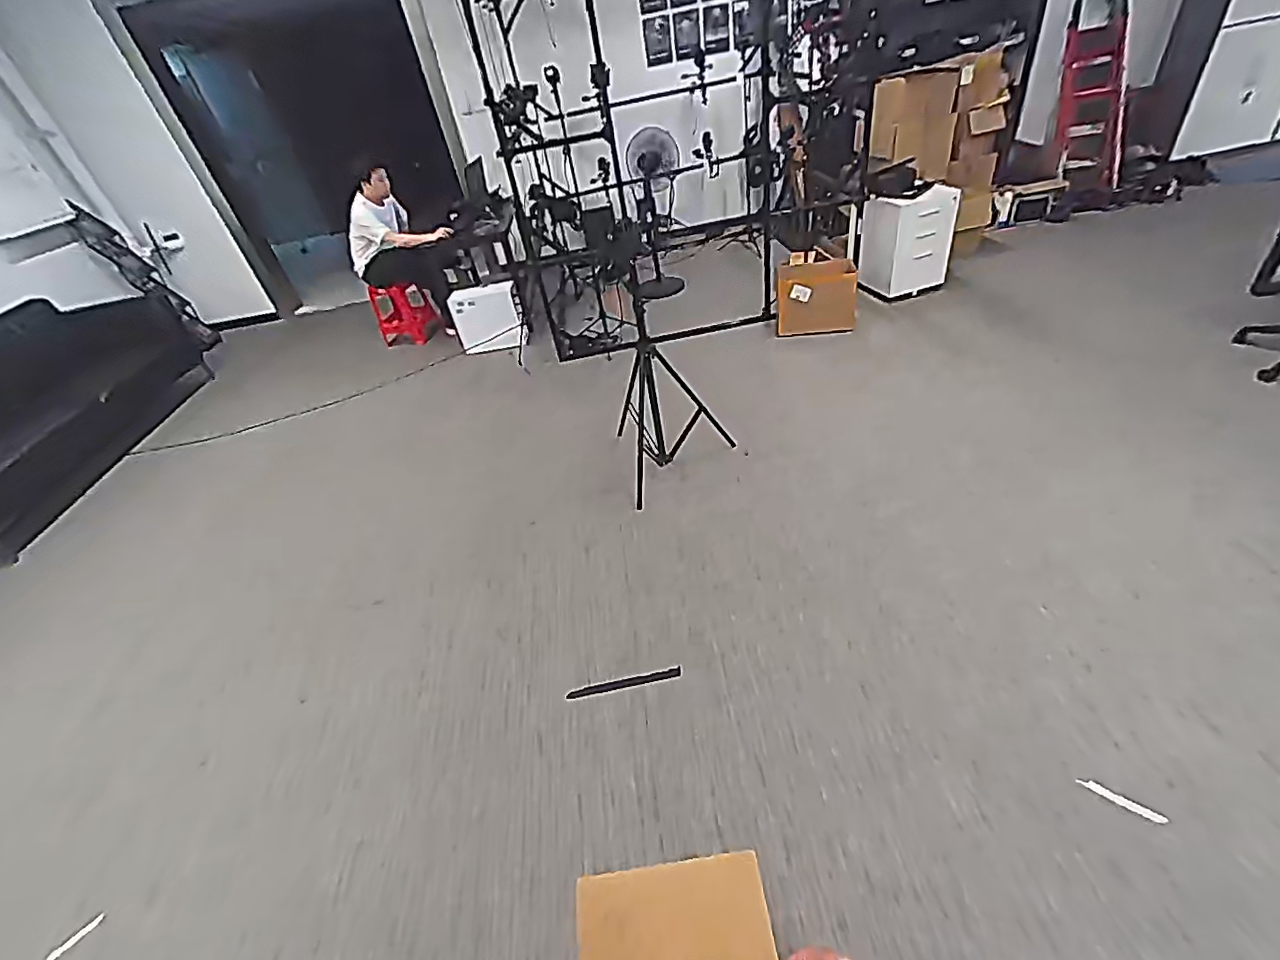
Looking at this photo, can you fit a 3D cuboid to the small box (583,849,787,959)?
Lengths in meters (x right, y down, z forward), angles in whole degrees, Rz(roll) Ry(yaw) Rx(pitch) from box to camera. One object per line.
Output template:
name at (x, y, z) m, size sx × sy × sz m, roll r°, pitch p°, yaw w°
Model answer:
small box at (0.047, 0.455, 0.479) m, size 0.168 × 0.176 × 0.179 m, roll -10°, pitch 48°, yaw 1°
